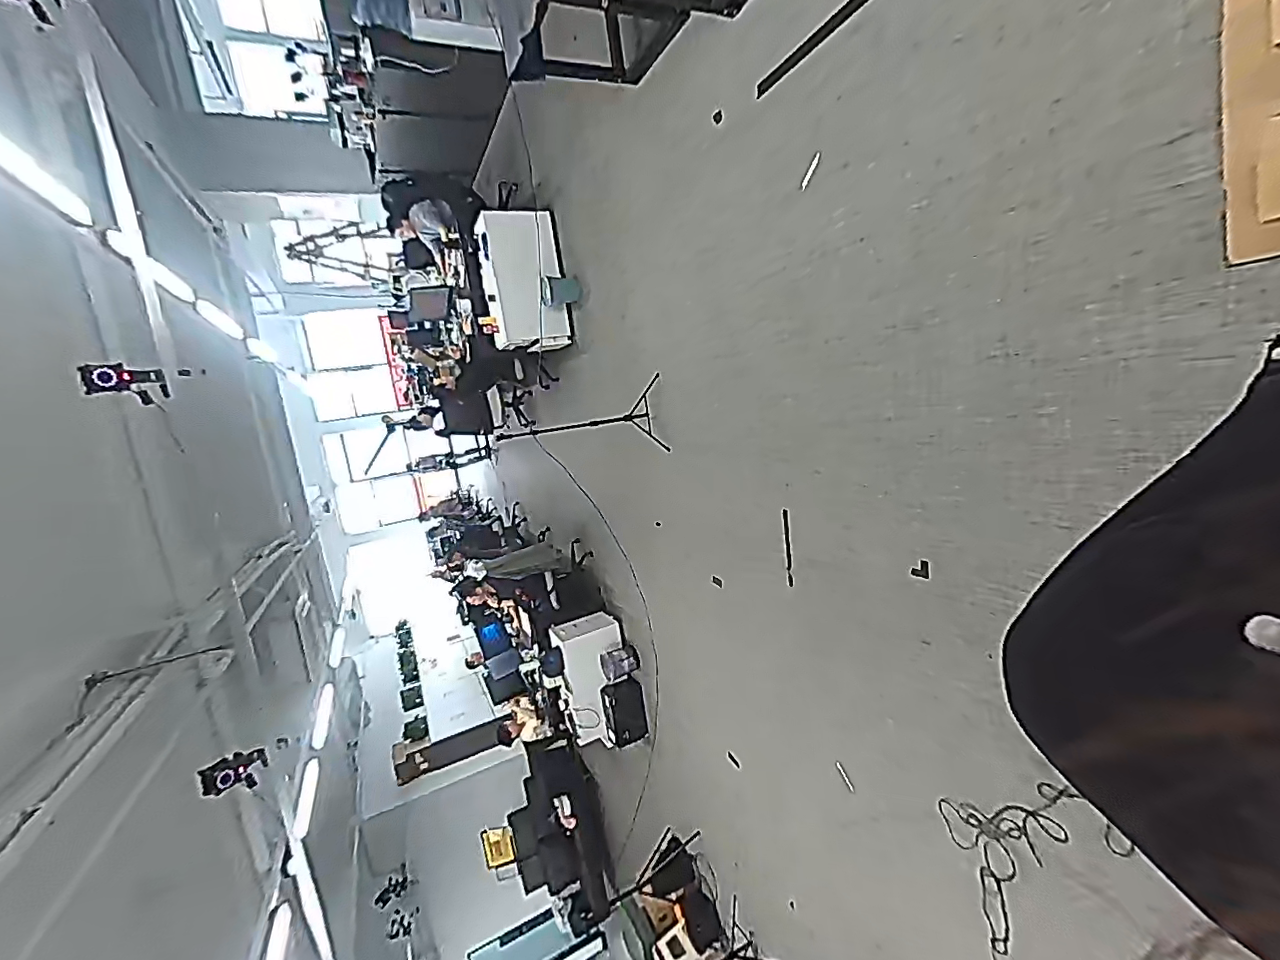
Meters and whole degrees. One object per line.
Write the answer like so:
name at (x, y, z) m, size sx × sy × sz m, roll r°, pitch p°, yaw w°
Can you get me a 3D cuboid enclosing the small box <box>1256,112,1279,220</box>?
small box at (1.220, -0.568, 0.937) m, size 0.168 × 0.176 × 0.179 m, roll 5°, pitch 107°, yaw 65°
